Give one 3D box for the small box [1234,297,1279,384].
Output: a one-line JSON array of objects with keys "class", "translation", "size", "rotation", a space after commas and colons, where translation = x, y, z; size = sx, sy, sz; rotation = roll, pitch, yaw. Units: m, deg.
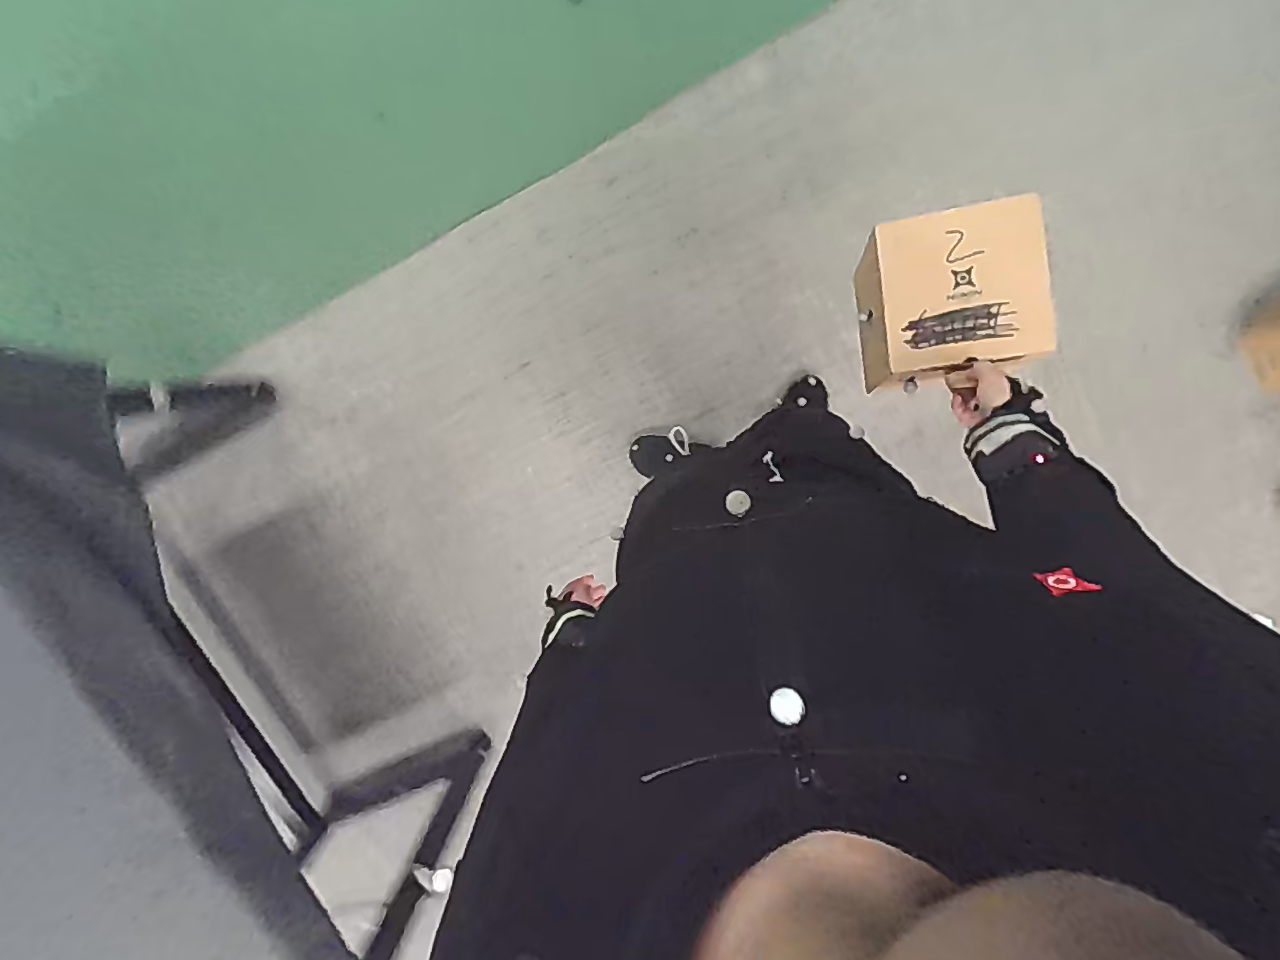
[{"class": "small box", "translation": [1.452, -0.318, 1.145], "size": [0.179, 0.176, 0.168], "rotation": [-36, 98, 10]}]
